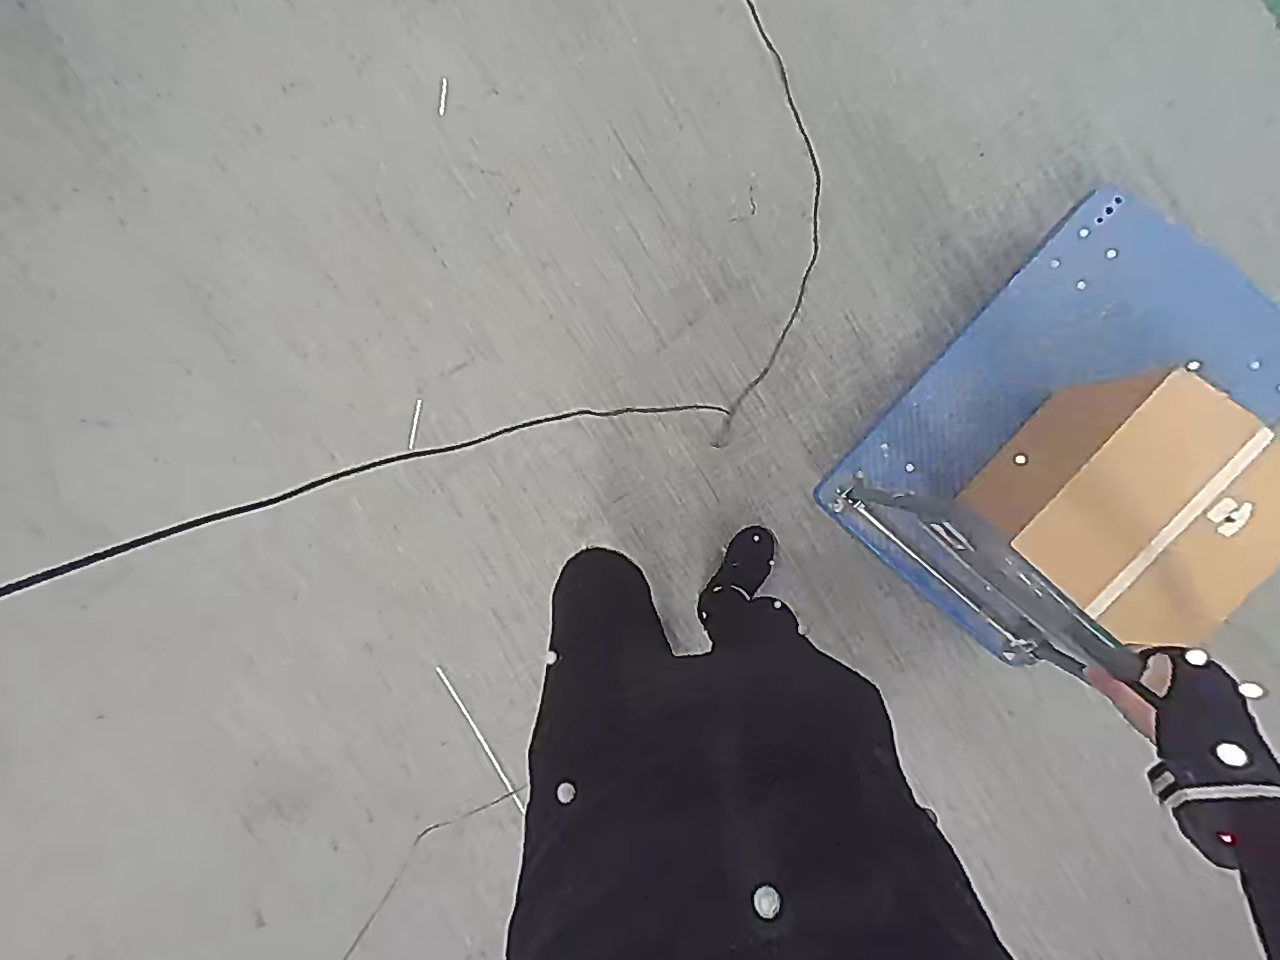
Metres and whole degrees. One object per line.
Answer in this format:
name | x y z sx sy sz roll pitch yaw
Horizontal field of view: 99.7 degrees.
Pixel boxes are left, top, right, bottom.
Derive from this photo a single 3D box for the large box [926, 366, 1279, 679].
large box | 0.830 0.067 0.993 0.320 0.320 0.408 40 96 4
